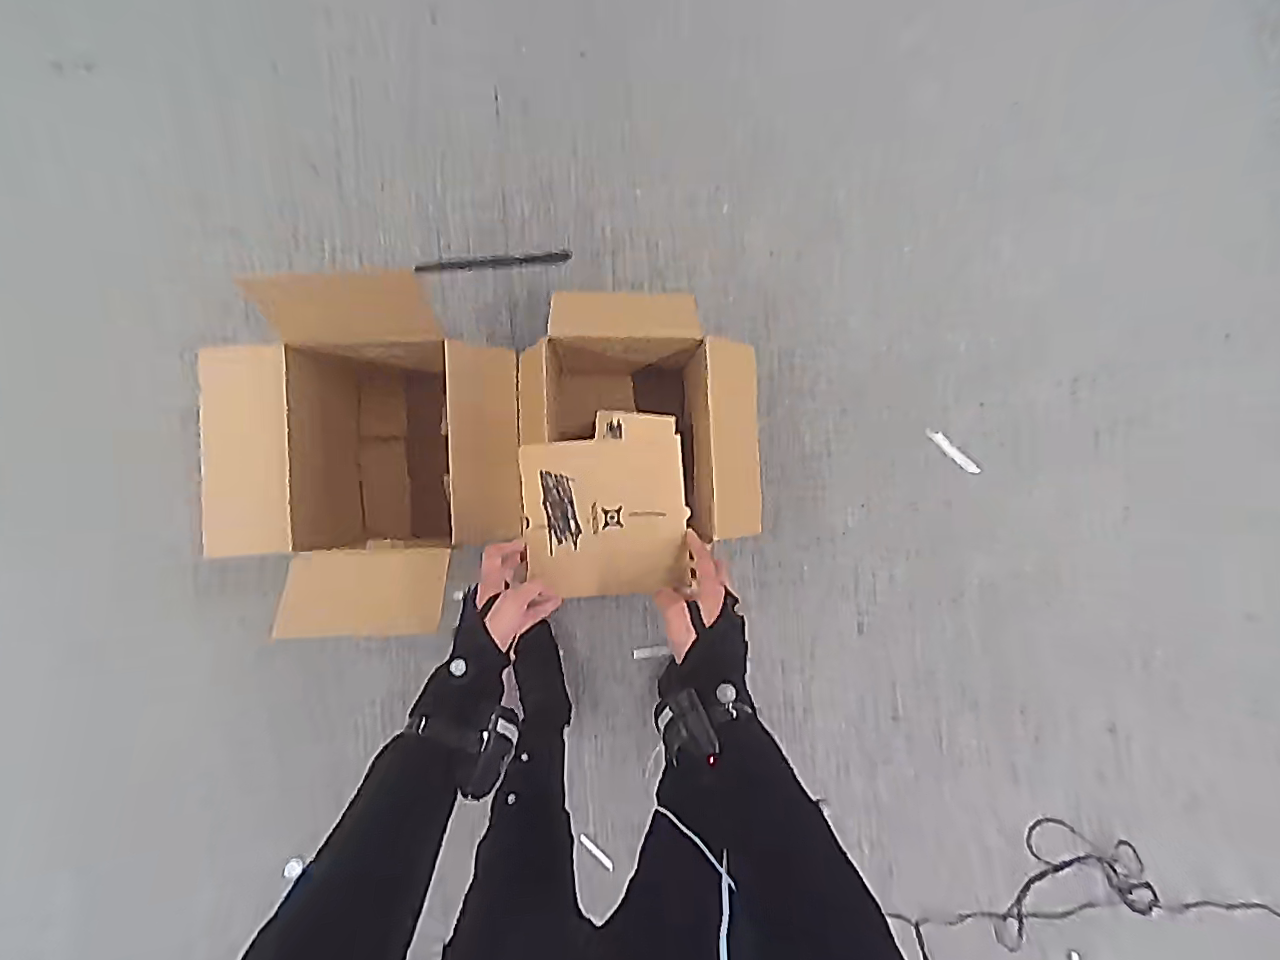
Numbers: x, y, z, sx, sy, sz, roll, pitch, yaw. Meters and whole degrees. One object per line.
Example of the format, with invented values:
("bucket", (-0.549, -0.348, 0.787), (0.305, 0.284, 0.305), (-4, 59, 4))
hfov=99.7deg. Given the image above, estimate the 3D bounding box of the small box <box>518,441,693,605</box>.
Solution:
("small box", (-0.037, 0.048, 0.639), (0.179, 0.176, 0.168), (-4, 88, -2))
